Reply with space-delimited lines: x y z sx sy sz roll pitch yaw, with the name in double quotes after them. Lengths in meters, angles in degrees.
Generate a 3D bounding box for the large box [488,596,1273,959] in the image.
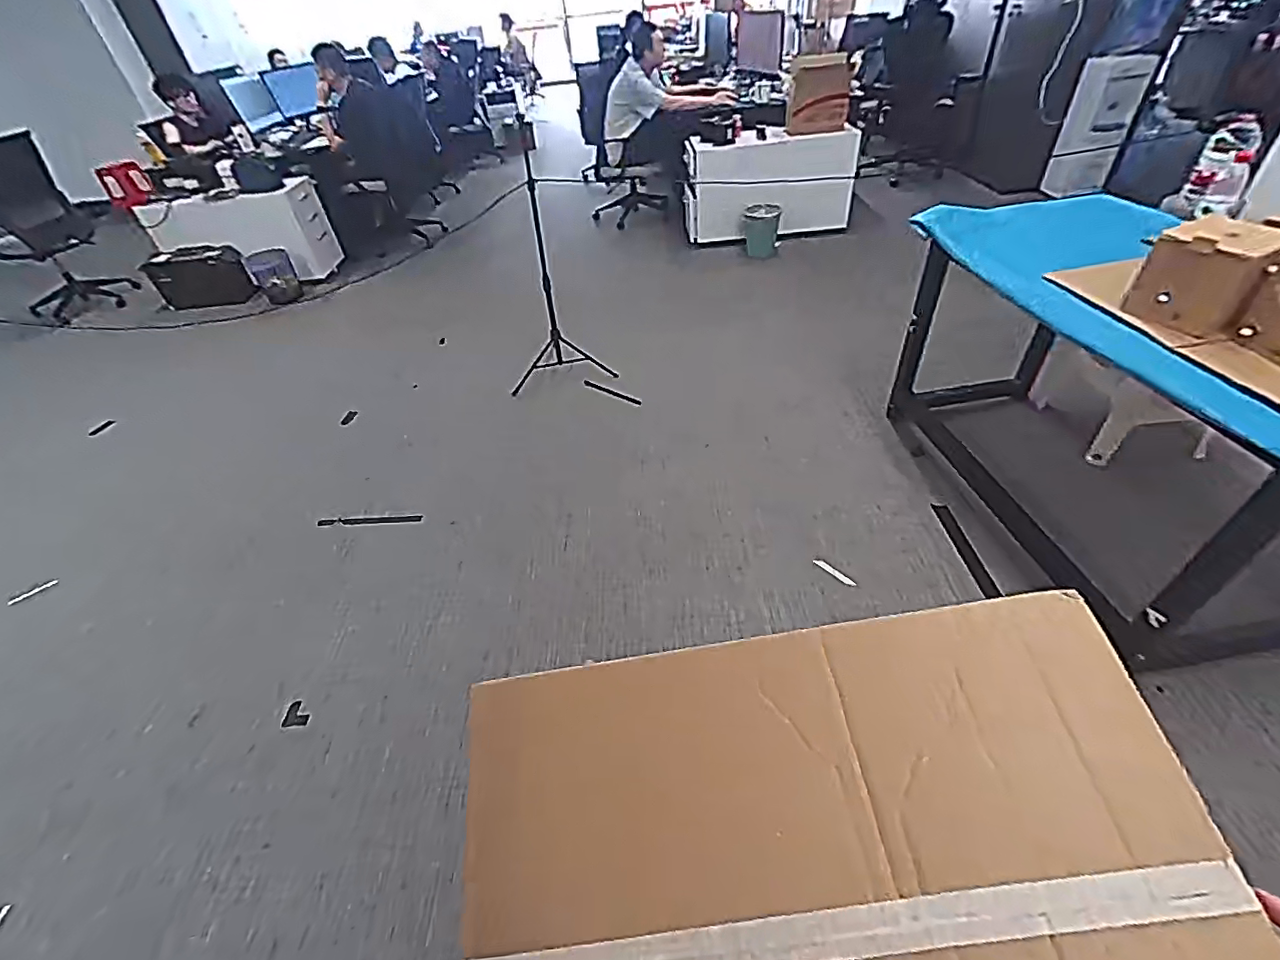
0.129 0.318 0.417 0.408 0.320 0.320 -10 59 4 "large box"
